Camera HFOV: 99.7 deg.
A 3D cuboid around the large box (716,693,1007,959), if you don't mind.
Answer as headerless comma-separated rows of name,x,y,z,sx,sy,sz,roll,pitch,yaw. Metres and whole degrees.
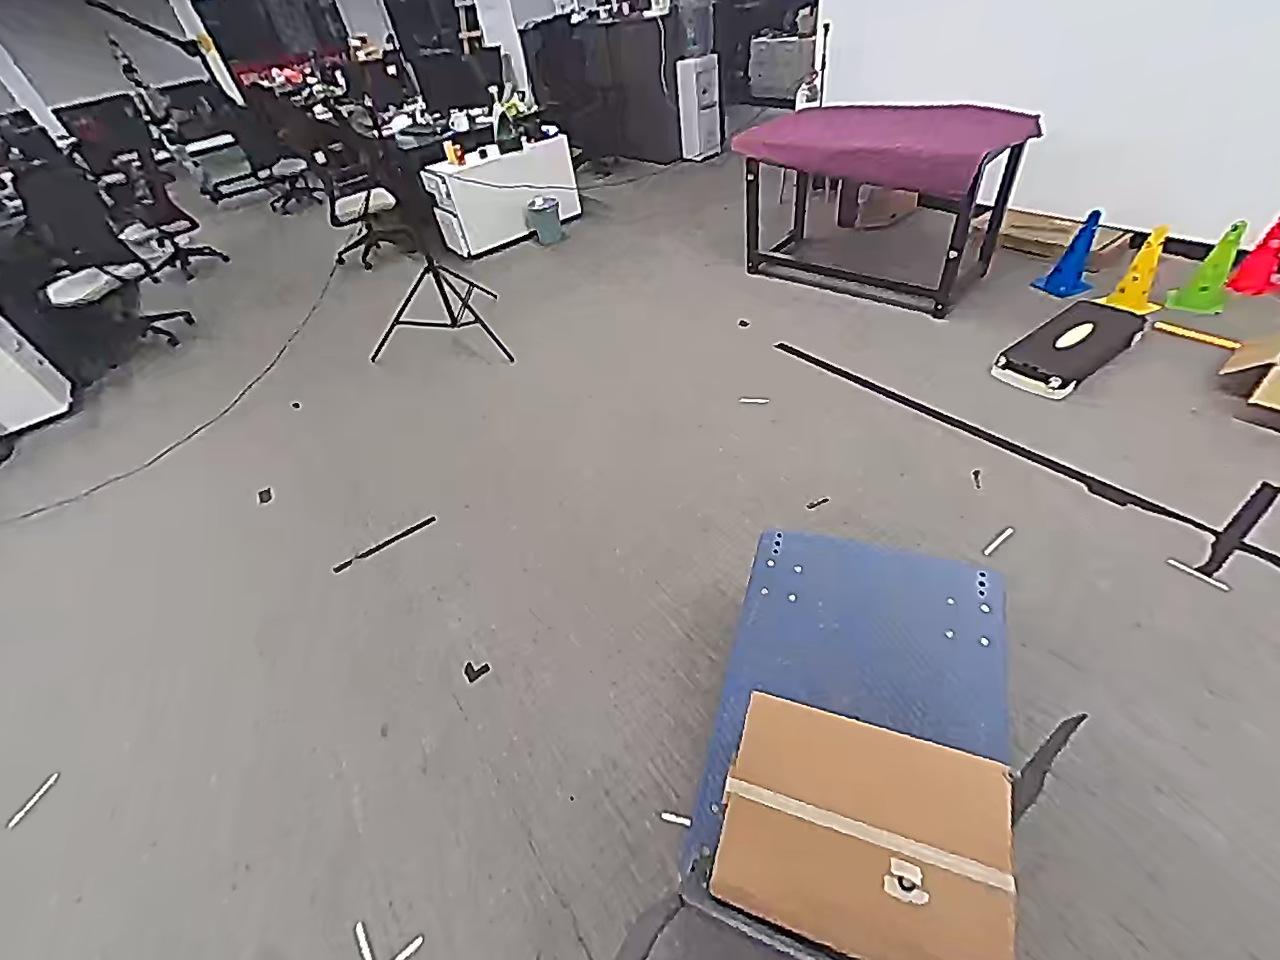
large box,0.372,0.624,0.969,0.408,0.320,0.320,10,60,19
